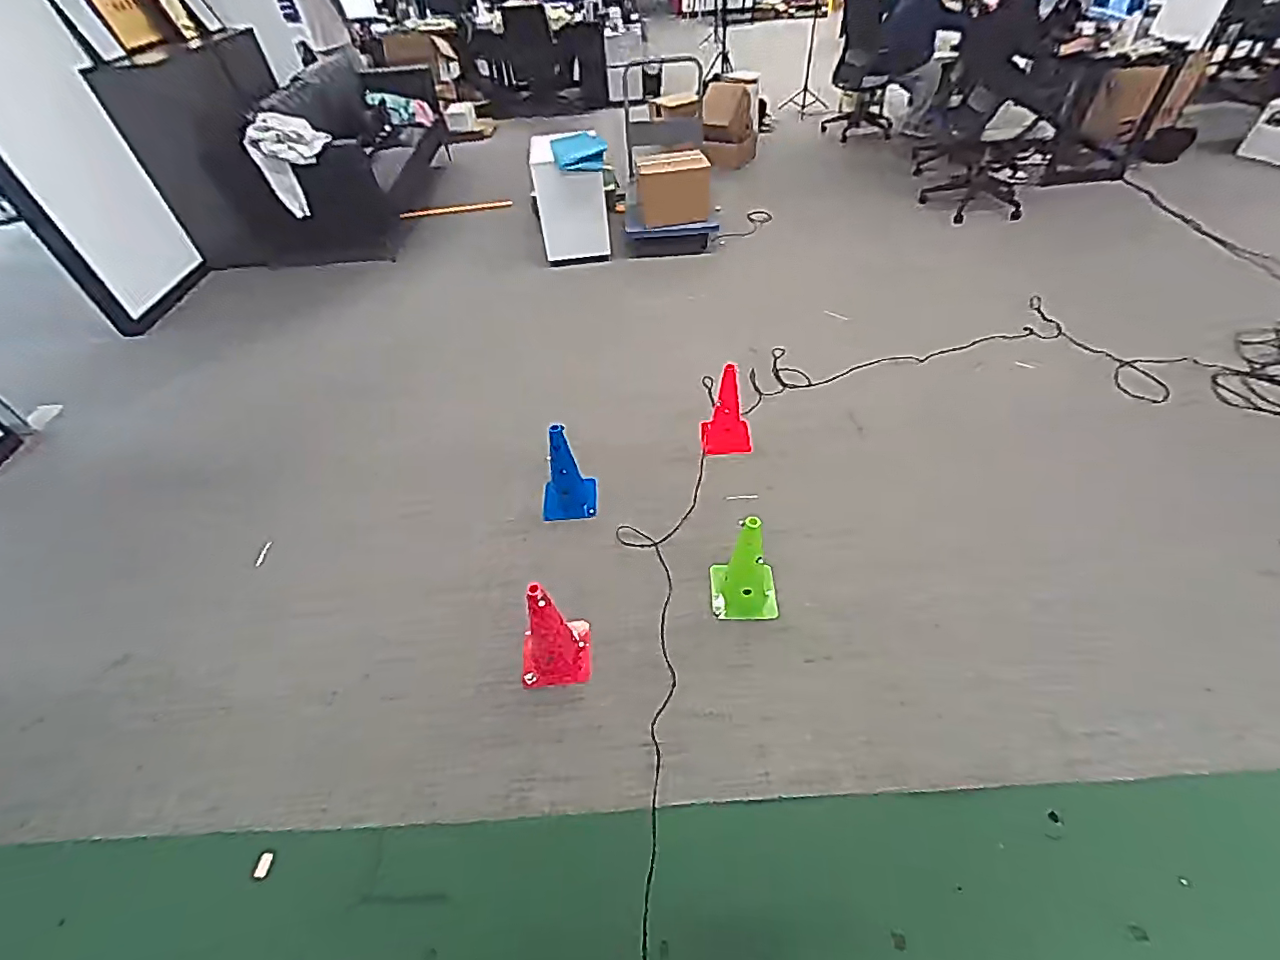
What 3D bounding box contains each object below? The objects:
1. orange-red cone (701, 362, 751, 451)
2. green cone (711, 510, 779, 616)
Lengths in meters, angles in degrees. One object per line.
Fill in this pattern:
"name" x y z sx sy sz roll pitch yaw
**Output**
"orange-red cone" 0.340 -0.304 2.112 0.198 0.360 0.199 -1 48 5
"green cone" 0.324 0.225 1.607 0.200 0.368 0.202 -2 45 2
